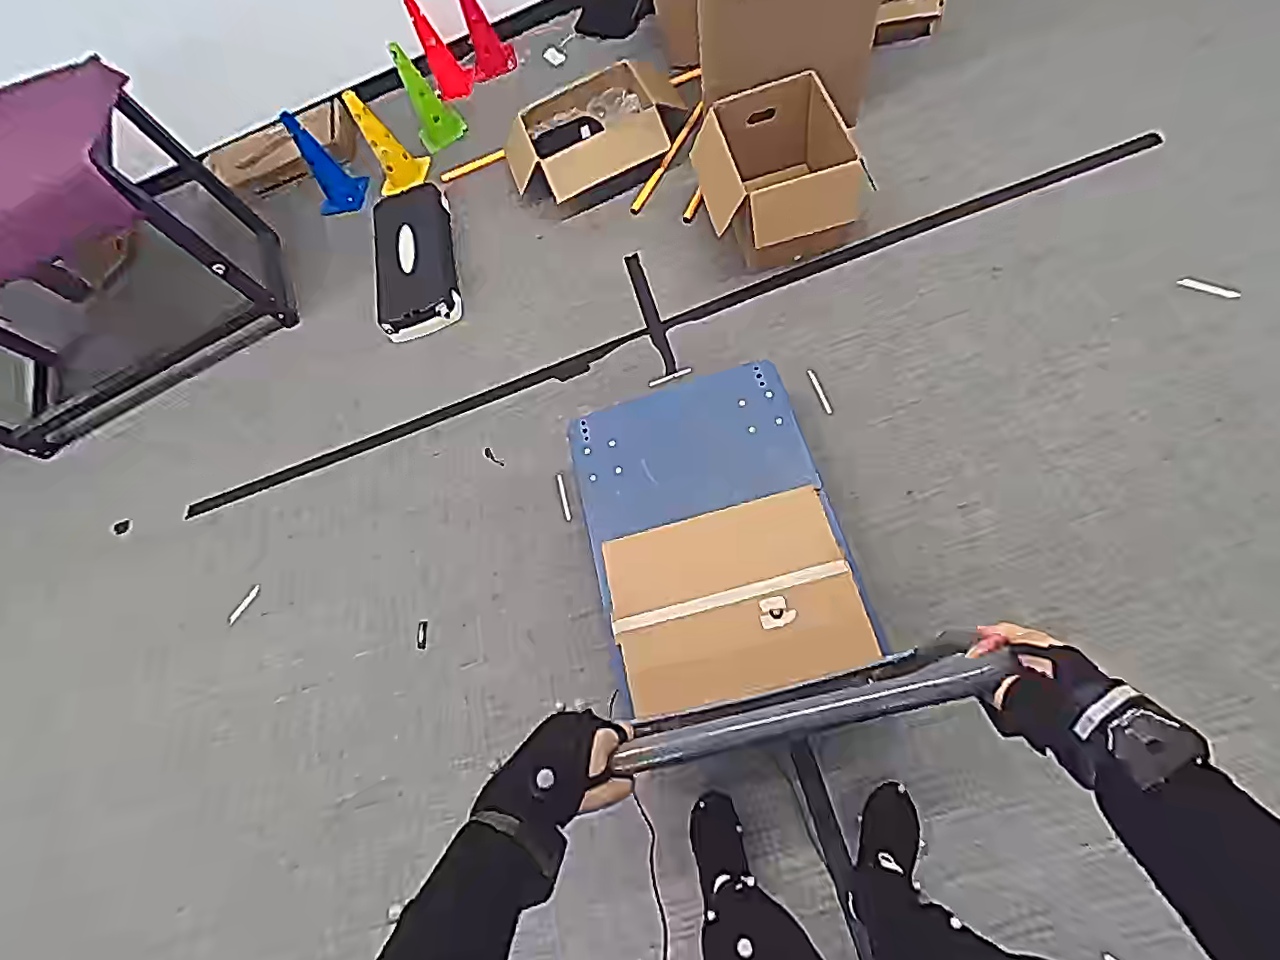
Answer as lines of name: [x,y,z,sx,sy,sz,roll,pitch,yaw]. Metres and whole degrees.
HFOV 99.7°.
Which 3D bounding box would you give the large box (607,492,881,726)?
large box: [0.185,0.269,1.058,0.408,0.320,0.320,-16,65,5]
